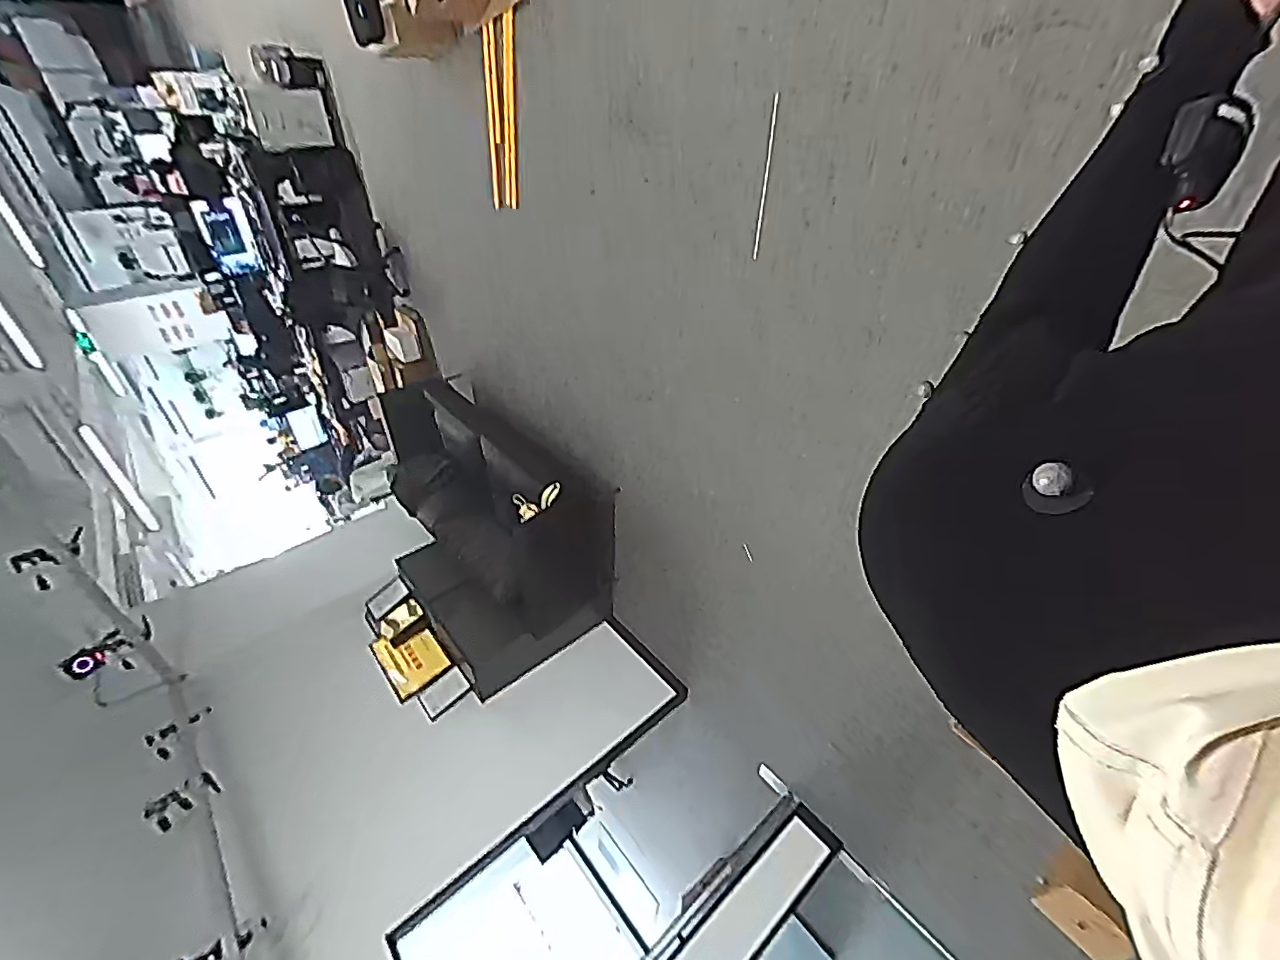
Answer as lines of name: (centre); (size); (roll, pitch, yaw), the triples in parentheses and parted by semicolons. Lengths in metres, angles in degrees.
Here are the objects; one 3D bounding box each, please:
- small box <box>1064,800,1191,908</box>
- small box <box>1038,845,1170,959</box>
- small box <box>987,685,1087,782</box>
small box: (1.272, 0.985, 1.409); (0.168, 0.176, 0.179); (41, 143, 34)
small box: (1.142, 1.050, 1.331); (0.168, 0.176, 0.179); (41, 143, 33)
small box: (1.212, 0.767, 1.647); (0.168, 0.176, 0.179); (38, 140, 33)
